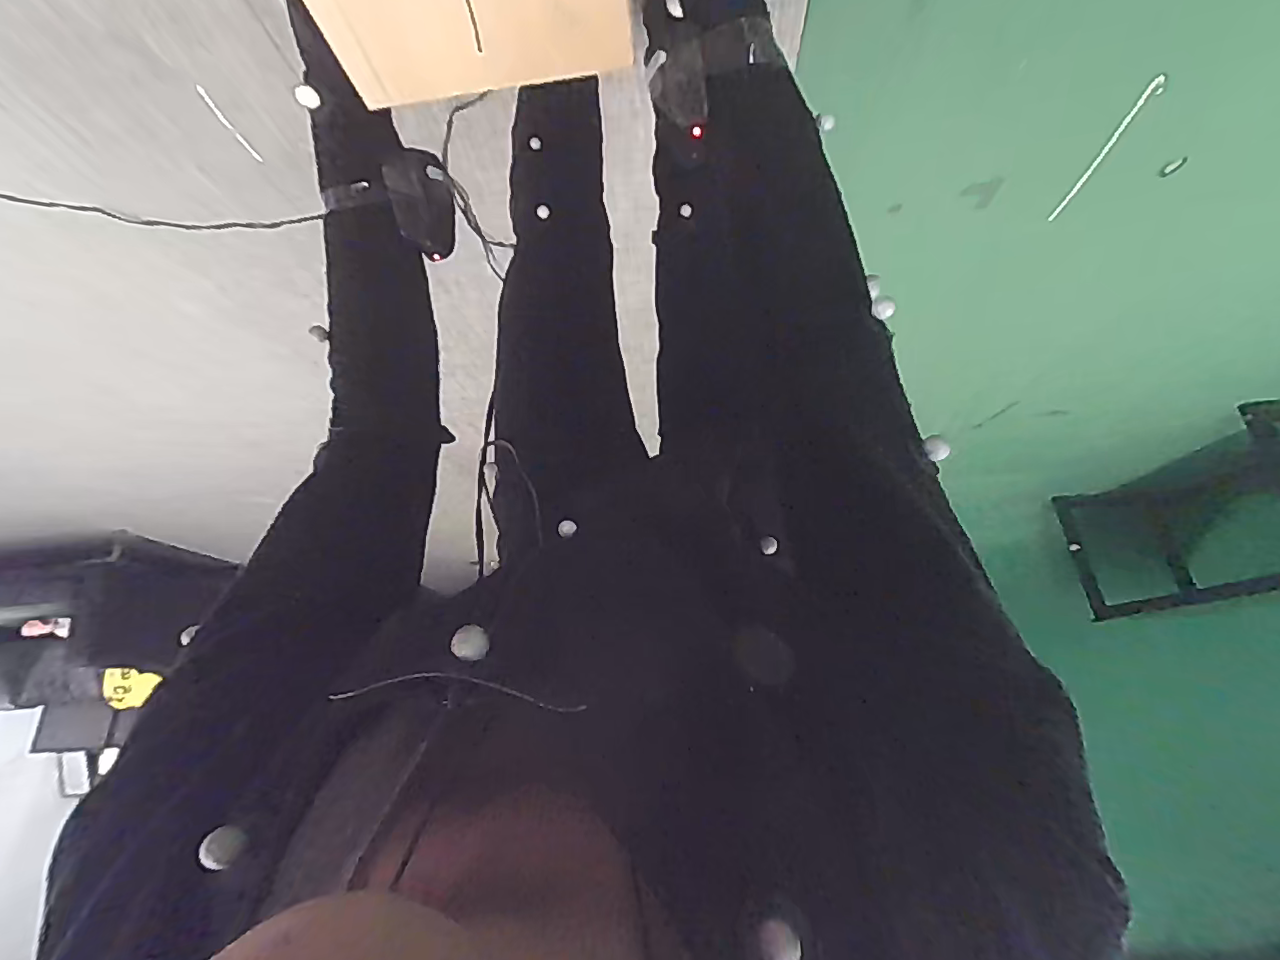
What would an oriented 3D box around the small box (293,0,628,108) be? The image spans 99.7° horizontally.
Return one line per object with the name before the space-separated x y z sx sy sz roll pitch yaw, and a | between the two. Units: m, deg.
small box | -0.101 -0.335 0.266 0.168 0.176 0.179 -5 159 5
